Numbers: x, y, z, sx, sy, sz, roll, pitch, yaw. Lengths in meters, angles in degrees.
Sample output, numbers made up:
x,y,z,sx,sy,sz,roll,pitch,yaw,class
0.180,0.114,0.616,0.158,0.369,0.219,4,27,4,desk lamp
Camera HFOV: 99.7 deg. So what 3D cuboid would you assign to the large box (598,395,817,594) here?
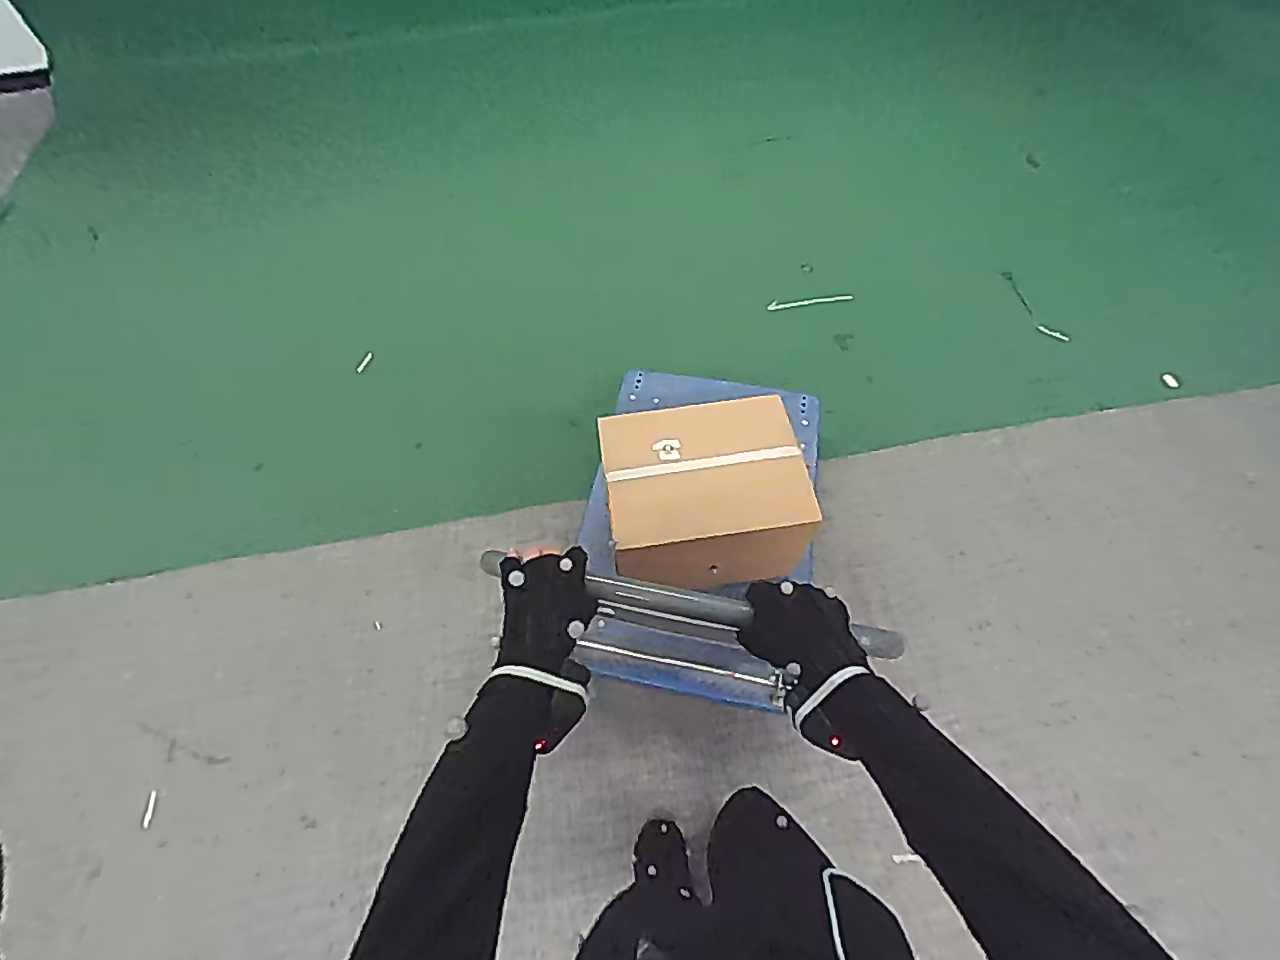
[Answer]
x,y,z,sx,sy,sz,roll,pitch,yaw,class
0.133,0.046,1.234,0.408,0.320,0.320,-8,60,-2,large box
